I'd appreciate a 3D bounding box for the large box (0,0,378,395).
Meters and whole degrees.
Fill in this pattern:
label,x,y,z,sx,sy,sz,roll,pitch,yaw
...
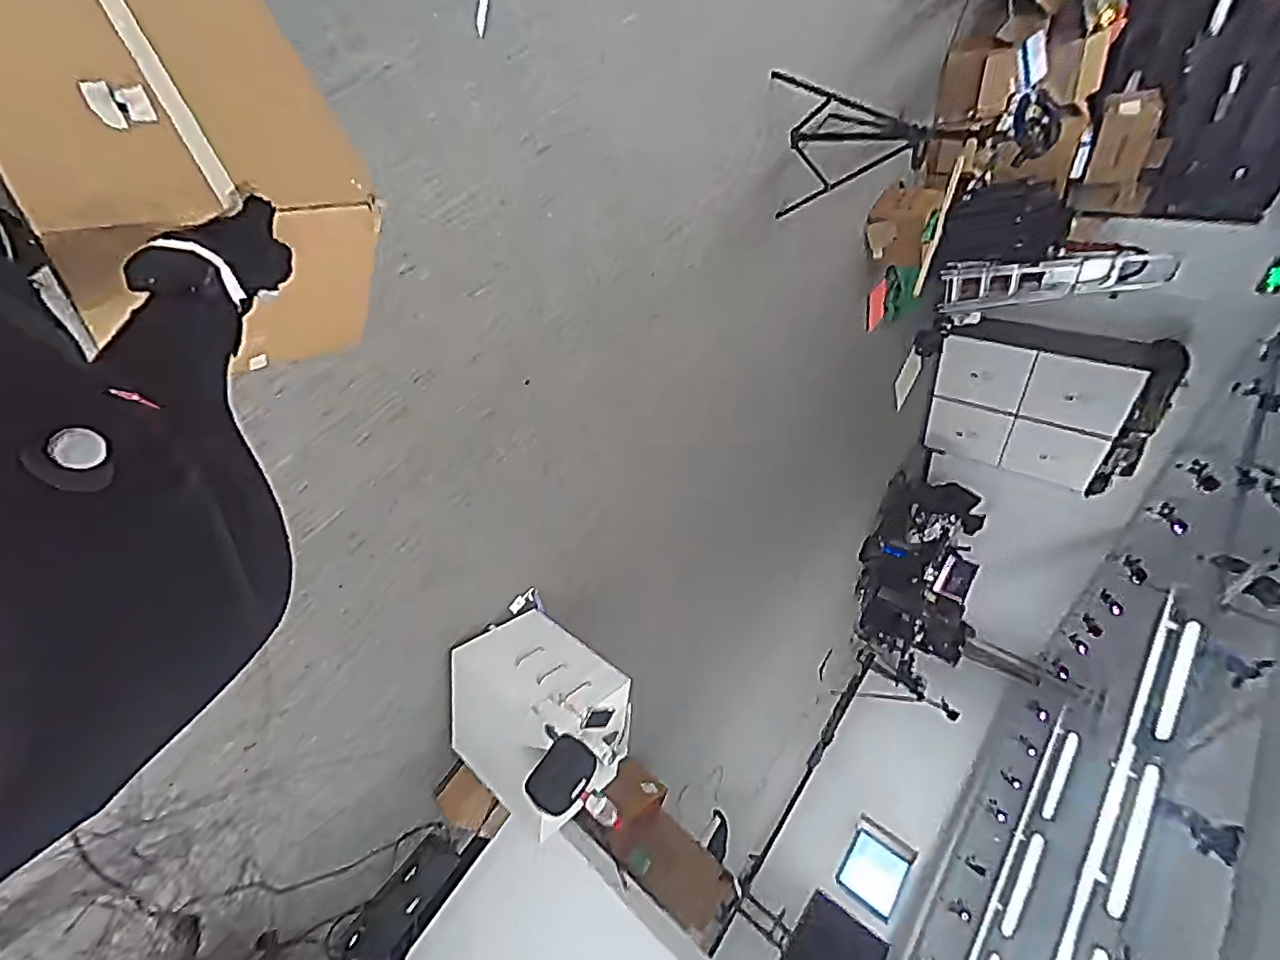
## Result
label,x,y,z,sx,sy,sz,roll,pitch,yaw
large box,-0.605,-0.386,0.693,0.320,0.320,0.408,-31,89,-36
